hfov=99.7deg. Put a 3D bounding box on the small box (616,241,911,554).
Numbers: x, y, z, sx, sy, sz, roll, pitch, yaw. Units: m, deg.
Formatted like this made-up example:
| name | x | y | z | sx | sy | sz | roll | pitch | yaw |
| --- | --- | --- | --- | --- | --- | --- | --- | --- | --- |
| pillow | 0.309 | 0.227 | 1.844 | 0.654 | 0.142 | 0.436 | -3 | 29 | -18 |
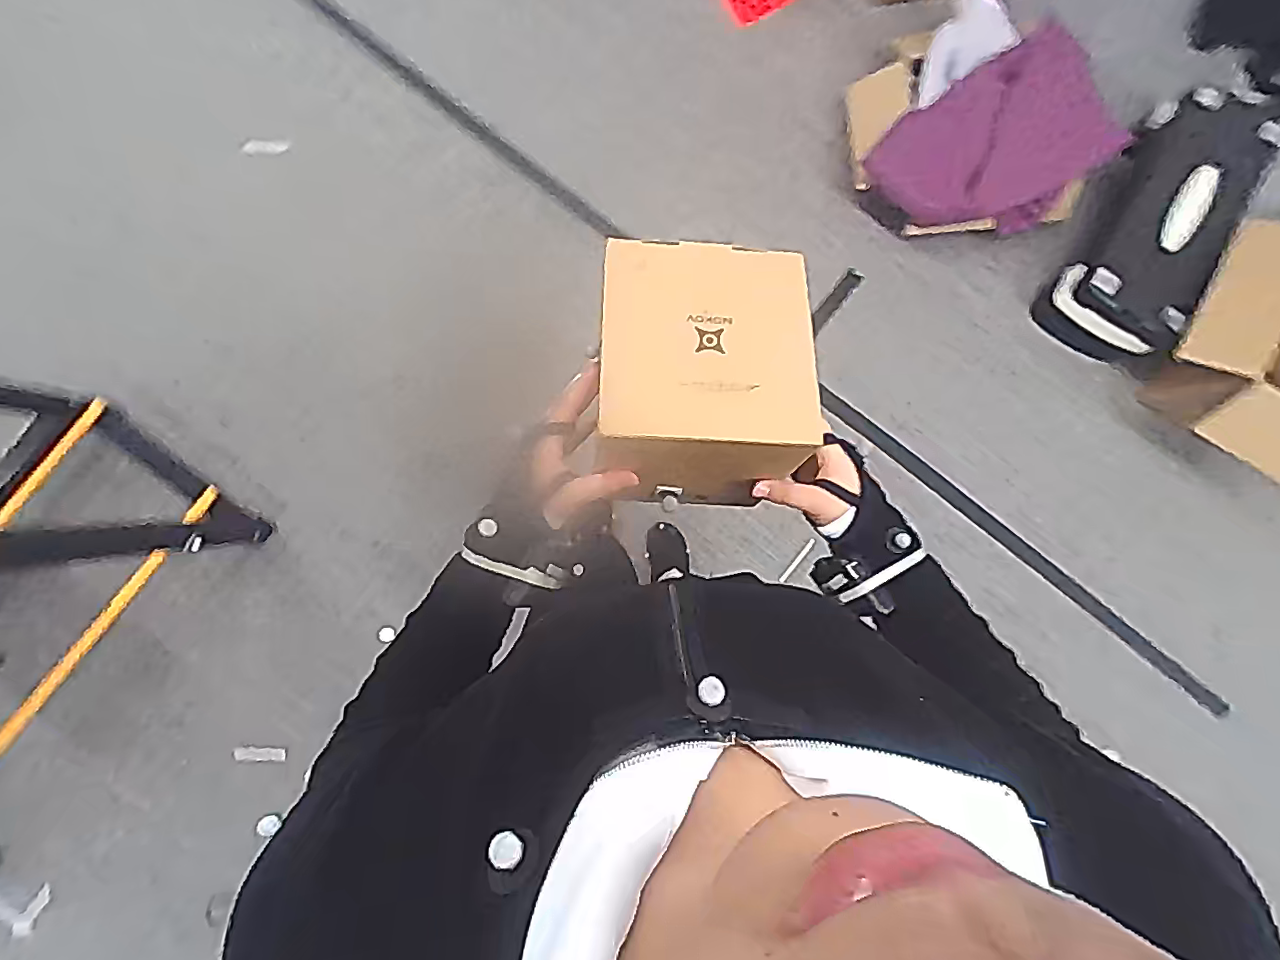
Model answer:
| name | x | y | z | sx | sy | sz | roll | pitch | yaw |
| --- | --- | --- | --- | --- | --- | --- | --- | --- | --- |
| small box | 0.068 | -0.047 | 0.408 | 0.168 | 0.176 | 0.179 | 0 | 72 | -5 |
